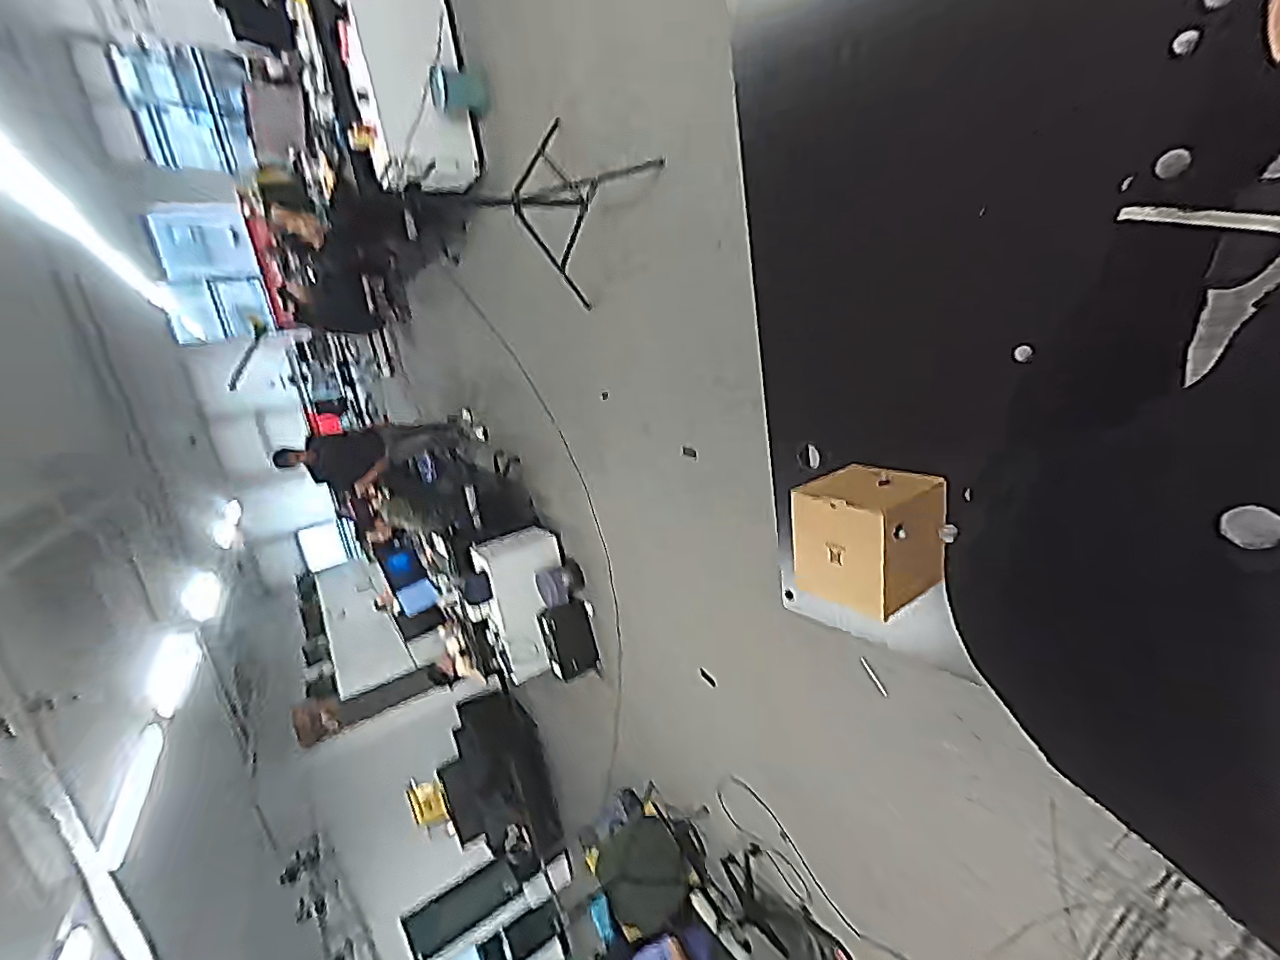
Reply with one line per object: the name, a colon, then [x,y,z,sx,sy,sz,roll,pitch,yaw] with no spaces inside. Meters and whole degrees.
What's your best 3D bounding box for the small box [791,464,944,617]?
small box: [0.366,0.086,0.871,0.168,0.176,0.179,15,117,54]
